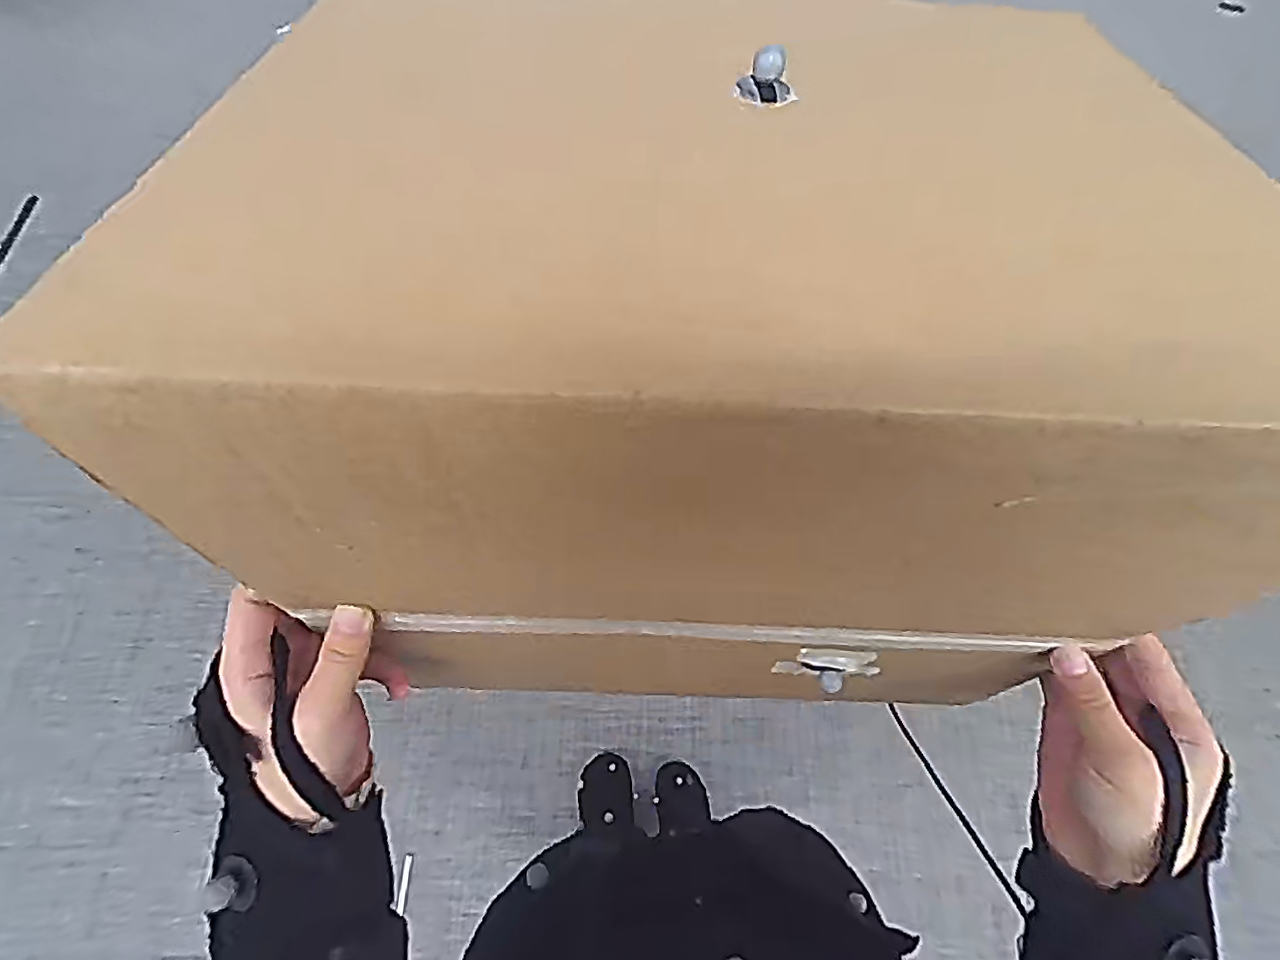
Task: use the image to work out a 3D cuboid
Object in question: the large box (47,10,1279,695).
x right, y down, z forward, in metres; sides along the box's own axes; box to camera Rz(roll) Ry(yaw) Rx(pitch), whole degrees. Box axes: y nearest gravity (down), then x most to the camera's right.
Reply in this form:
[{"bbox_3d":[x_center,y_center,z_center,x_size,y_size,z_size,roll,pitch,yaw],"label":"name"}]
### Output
[{"bbox_3d":[0.033,-0.056,0.351,0.408,0.320,0.320,2,57,-2],"label":"large box"}]
